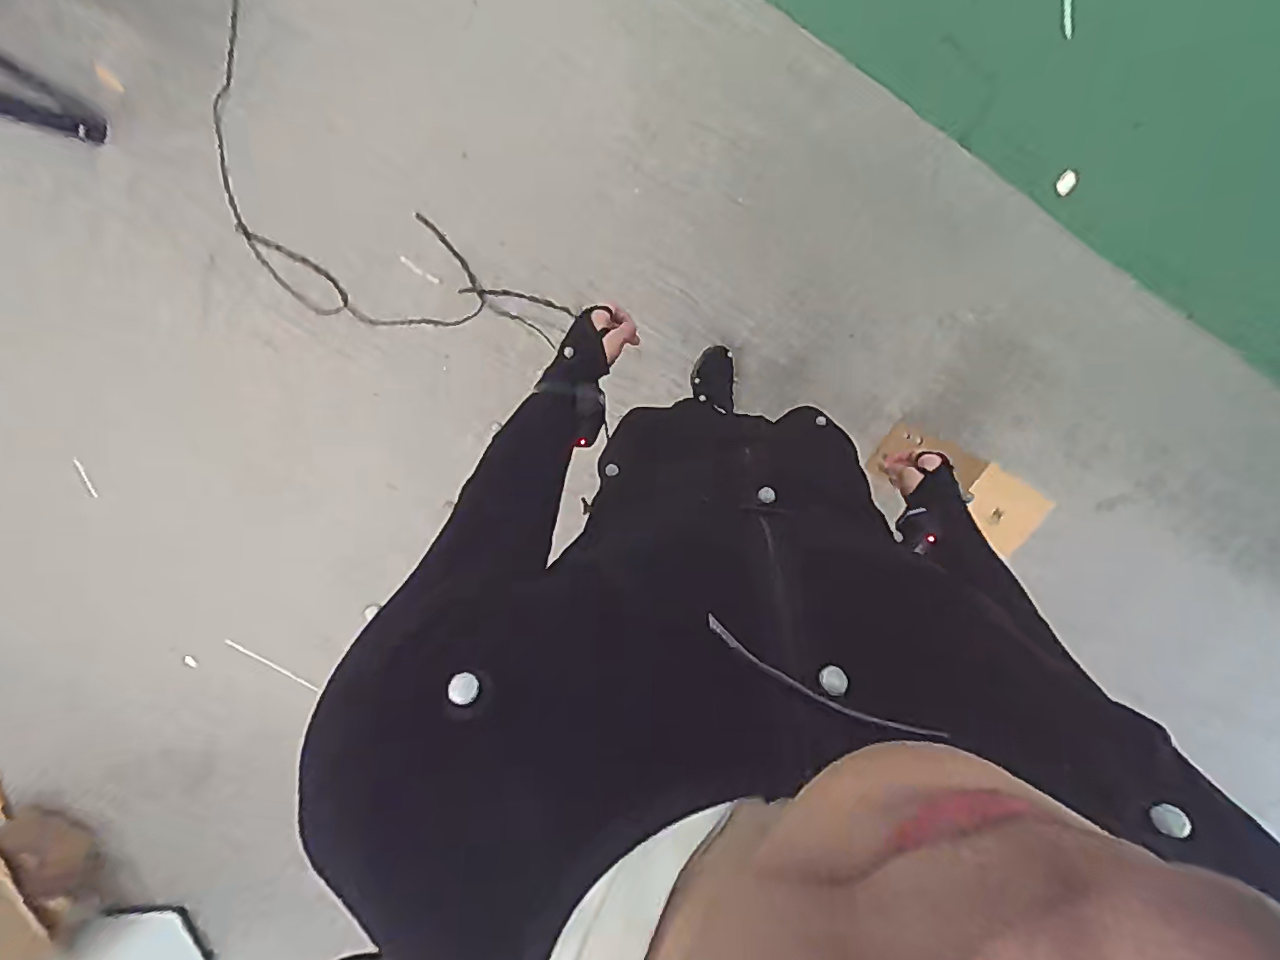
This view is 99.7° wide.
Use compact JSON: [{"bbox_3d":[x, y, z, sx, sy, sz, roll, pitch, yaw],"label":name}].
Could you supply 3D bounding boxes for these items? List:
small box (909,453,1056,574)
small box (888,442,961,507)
[{"bbox_3d":[0.723,0.064,1.168,0.168,0.176,0.179,32,106,-4],"label":"small box"},{"bbox_3d":[0.749,0.021,1.325,0.179,0.176,0.168,30,106,-5],"label":"small box"}]
